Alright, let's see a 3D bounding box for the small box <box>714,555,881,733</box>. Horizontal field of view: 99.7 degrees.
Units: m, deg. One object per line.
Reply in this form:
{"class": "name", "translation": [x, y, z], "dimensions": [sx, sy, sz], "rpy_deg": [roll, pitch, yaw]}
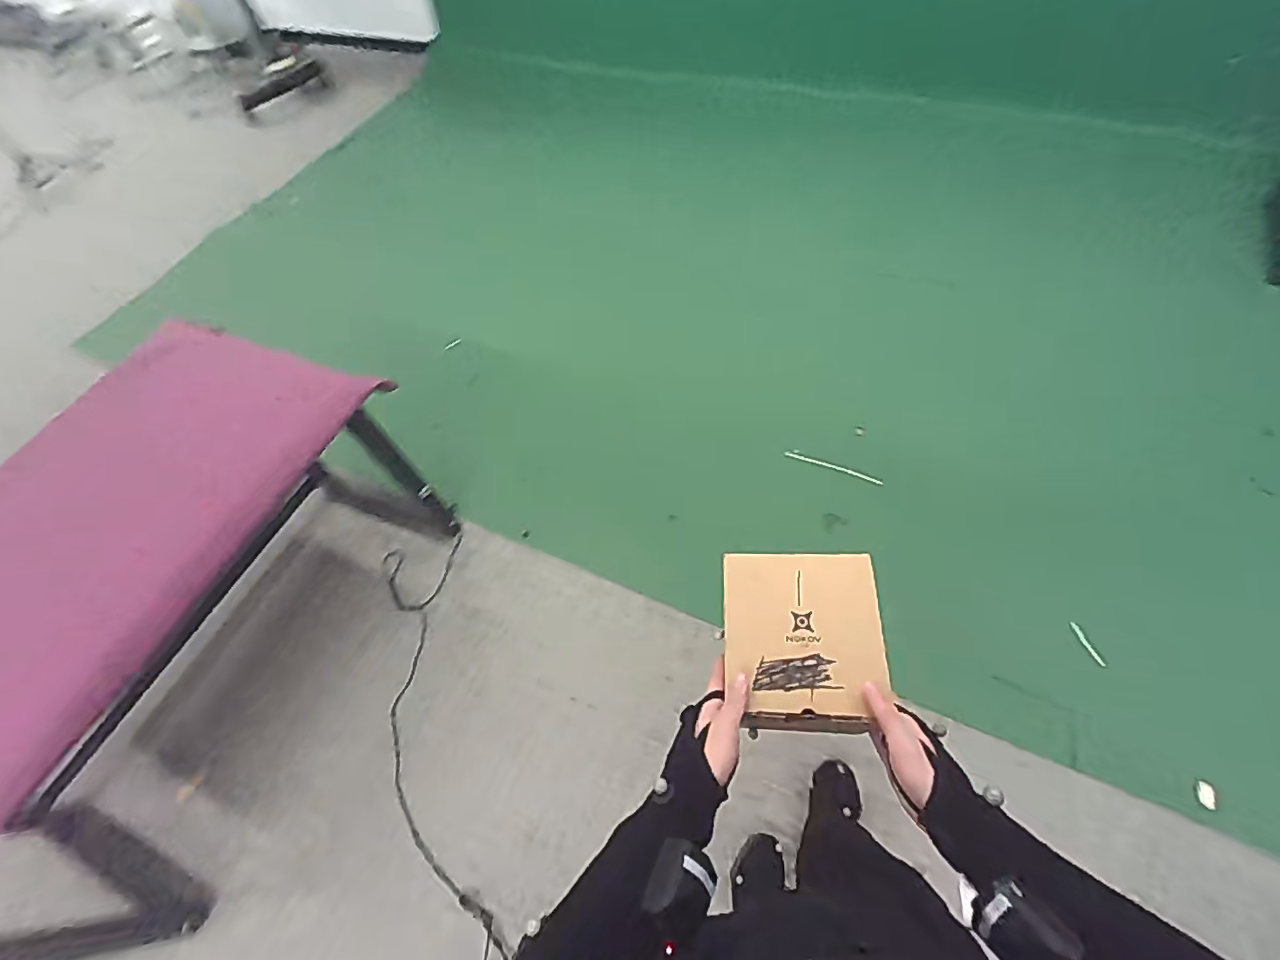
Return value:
{"class": "small box", "translation": [0.176, 0.202, 0.652], "dimensions": [0.168, 0.176, 0.179], "rpy_deg": [-1, 60, 9]}
